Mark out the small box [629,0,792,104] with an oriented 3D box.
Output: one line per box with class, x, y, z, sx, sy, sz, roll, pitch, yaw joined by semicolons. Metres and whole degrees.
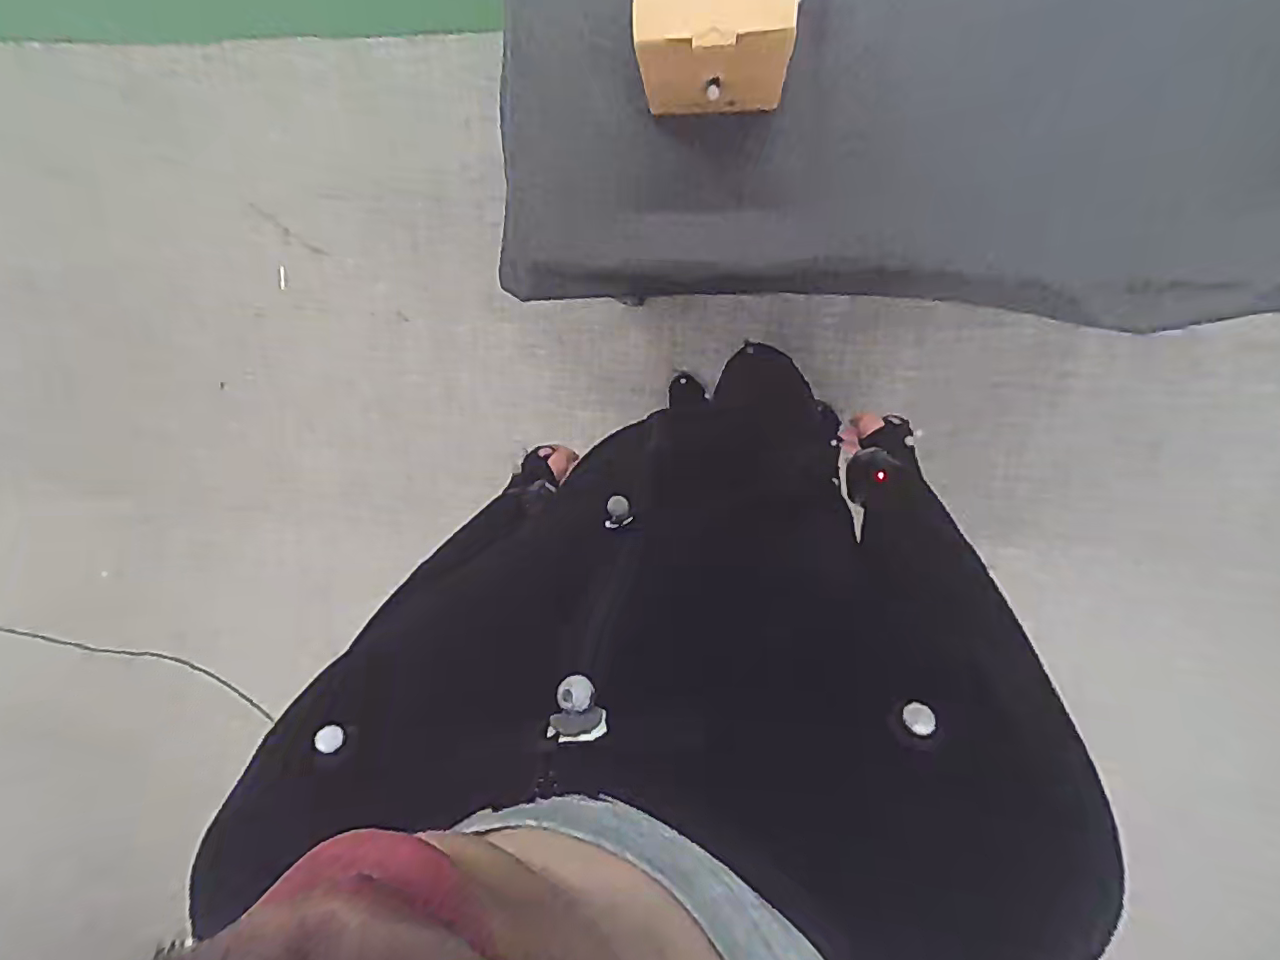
small box;0.082;-0.548;0.603;0.168;0.176;0.179;2;102;7
